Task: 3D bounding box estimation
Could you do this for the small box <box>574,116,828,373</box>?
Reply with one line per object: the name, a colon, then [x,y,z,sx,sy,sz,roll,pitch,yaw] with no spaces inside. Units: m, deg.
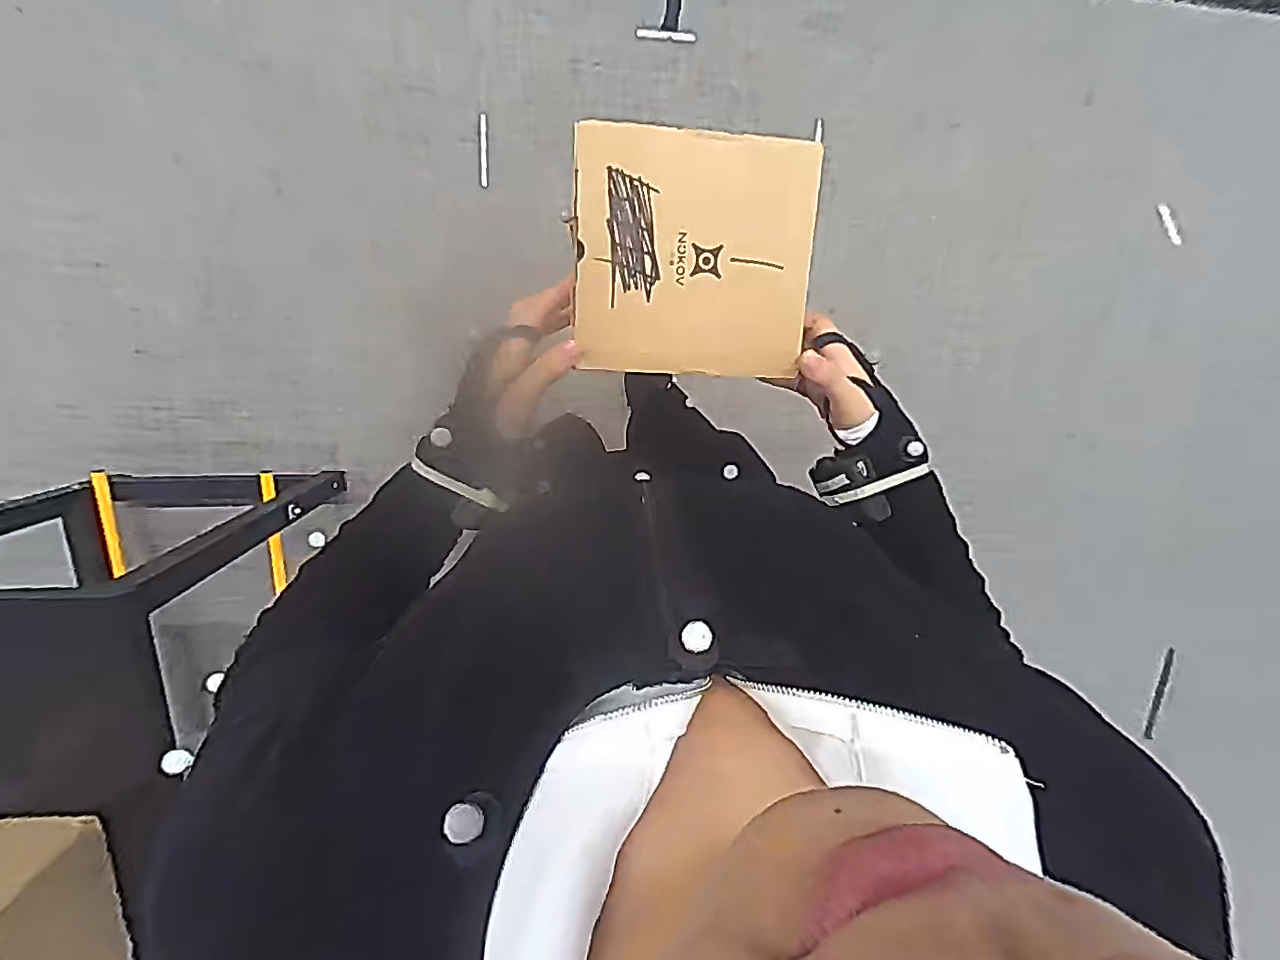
small box: [0.034,-0.181,0.464,0.179,0.176,0.168,1,104,-7]
